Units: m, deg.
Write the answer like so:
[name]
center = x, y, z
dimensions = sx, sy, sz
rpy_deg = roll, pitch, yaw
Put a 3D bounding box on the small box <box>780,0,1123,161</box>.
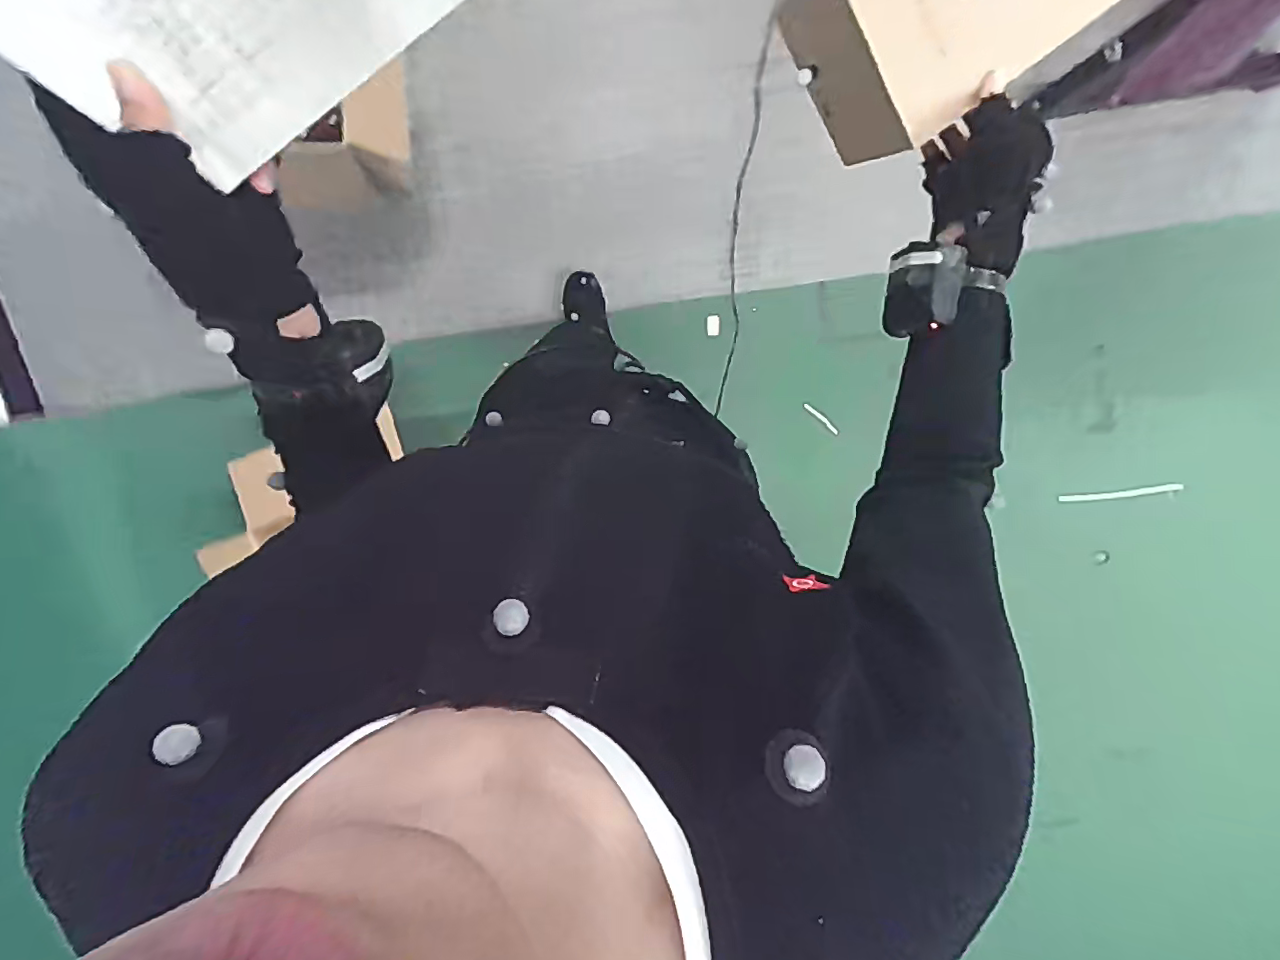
[small box]
center = 0.250, -0.412, 0.470
dimensions = 0.179, 0.176, 0.168
rpy_deg = -33, 112, 14
